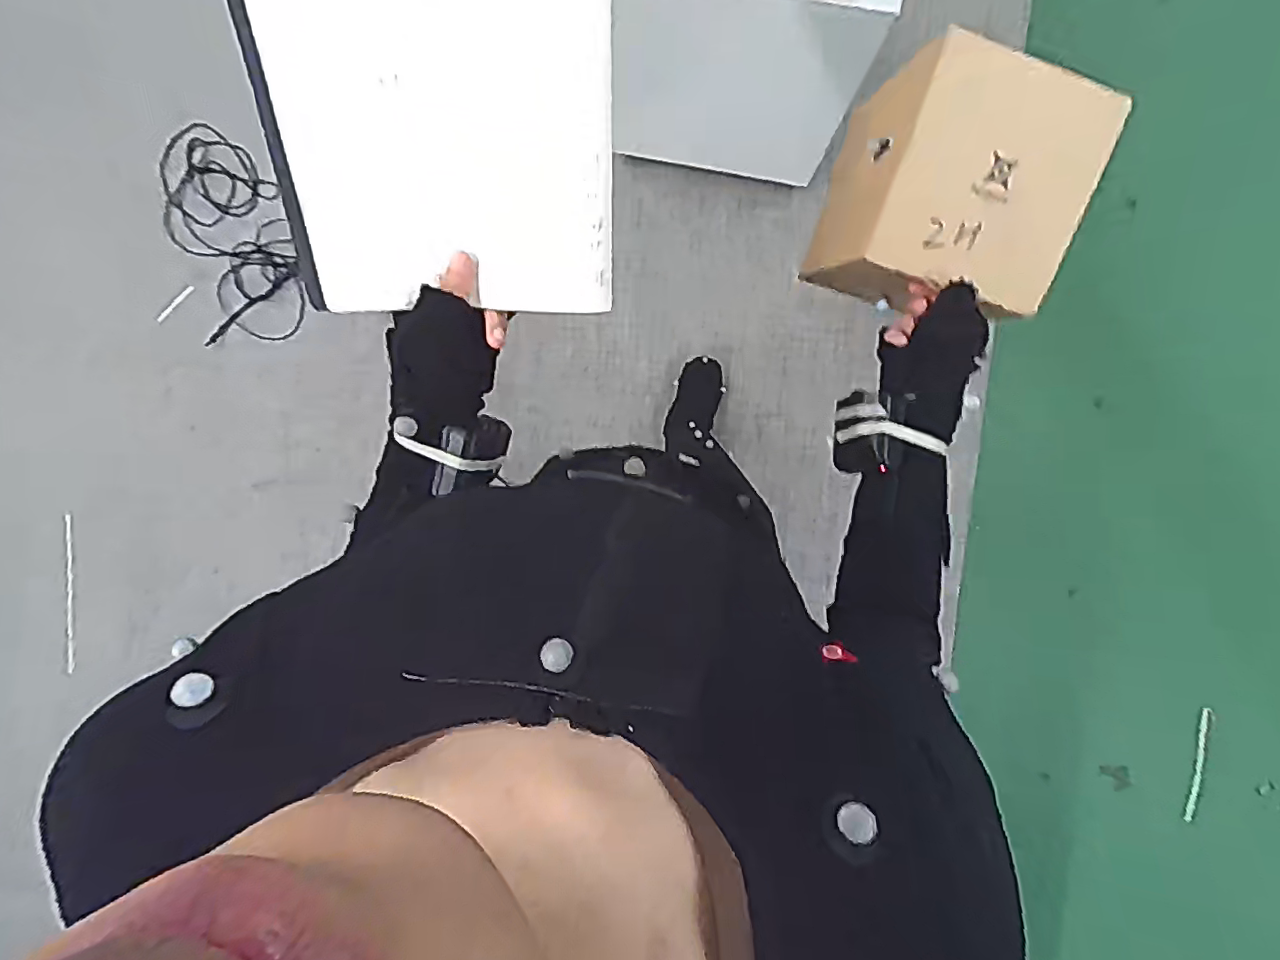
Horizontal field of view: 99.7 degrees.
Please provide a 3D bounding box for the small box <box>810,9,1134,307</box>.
[{"bbox_3d":[0.284,-0.275,0.512,0.168,0.176,0.179,15,105,-6],"label":"small box"}]
